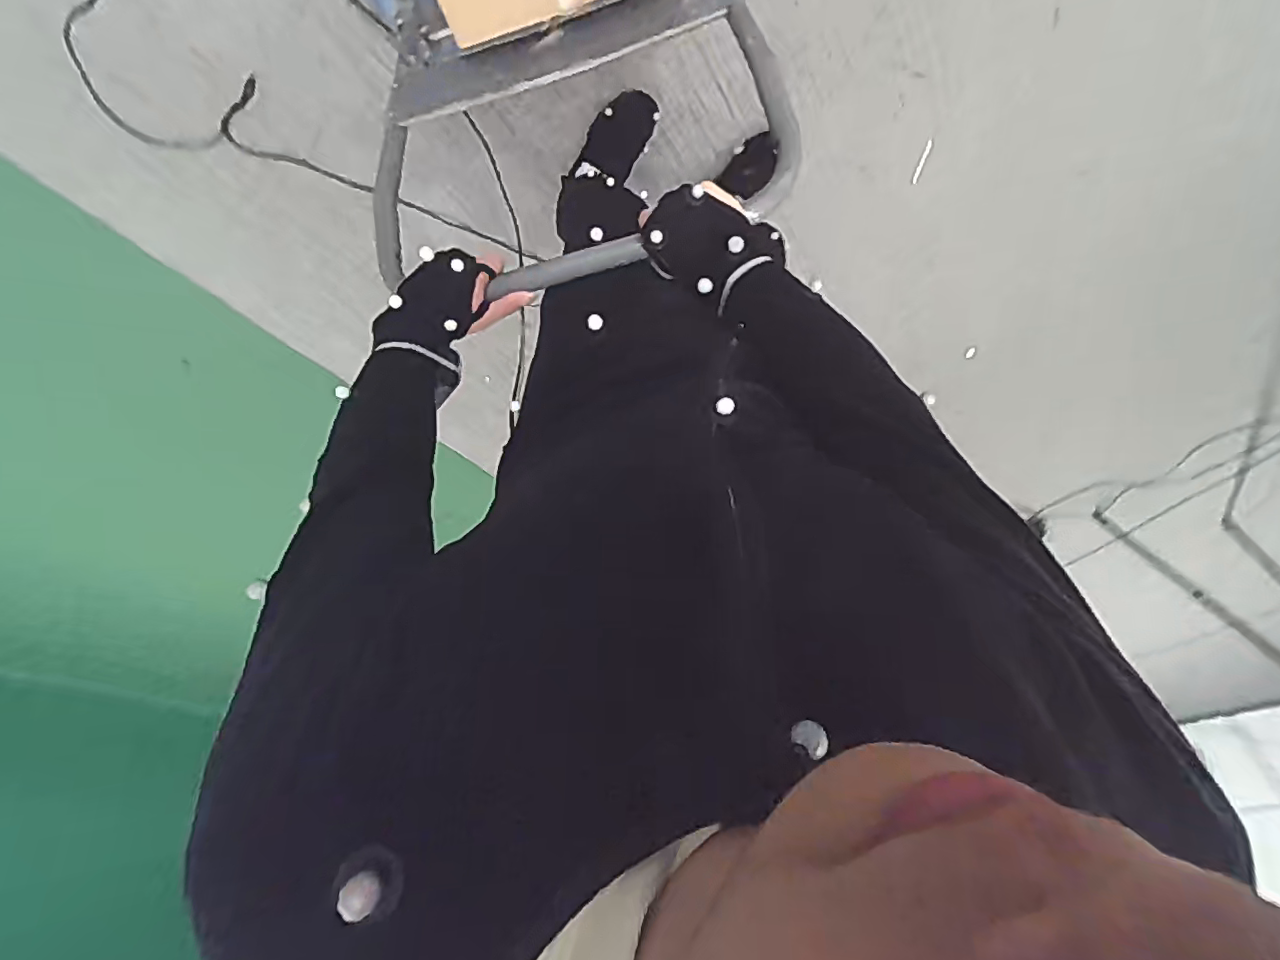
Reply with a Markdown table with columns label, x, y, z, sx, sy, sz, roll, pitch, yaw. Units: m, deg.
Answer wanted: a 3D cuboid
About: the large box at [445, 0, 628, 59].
| label | x | y | z | sx | sy | sz | roll | pitch | yaw |
| --- | --- | --- | --- | --- | --- | --- | --- | --- | --- |
| large box | -0.154 | -0.848 | 0.658 | 0.320 | 0.320 | 0.408 | -14 | 146 | 9 |
